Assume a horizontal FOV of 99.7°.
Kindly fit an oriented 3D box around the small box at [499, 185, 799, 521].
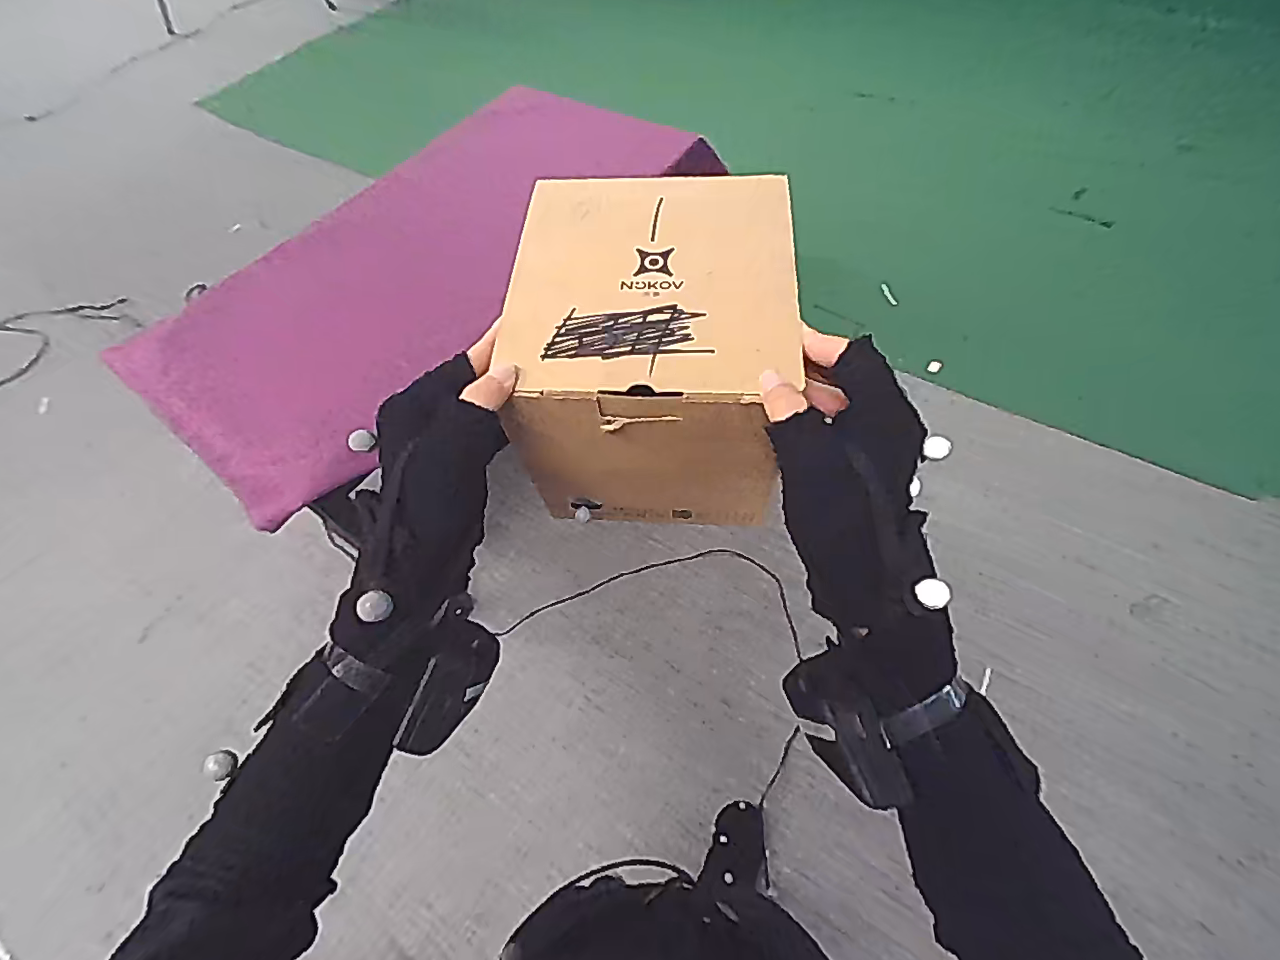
[{"bbox_3d":[0.016,-0.081,0.394,0.168,0.176,0.179,2,62,6],"label":"small box"}]
